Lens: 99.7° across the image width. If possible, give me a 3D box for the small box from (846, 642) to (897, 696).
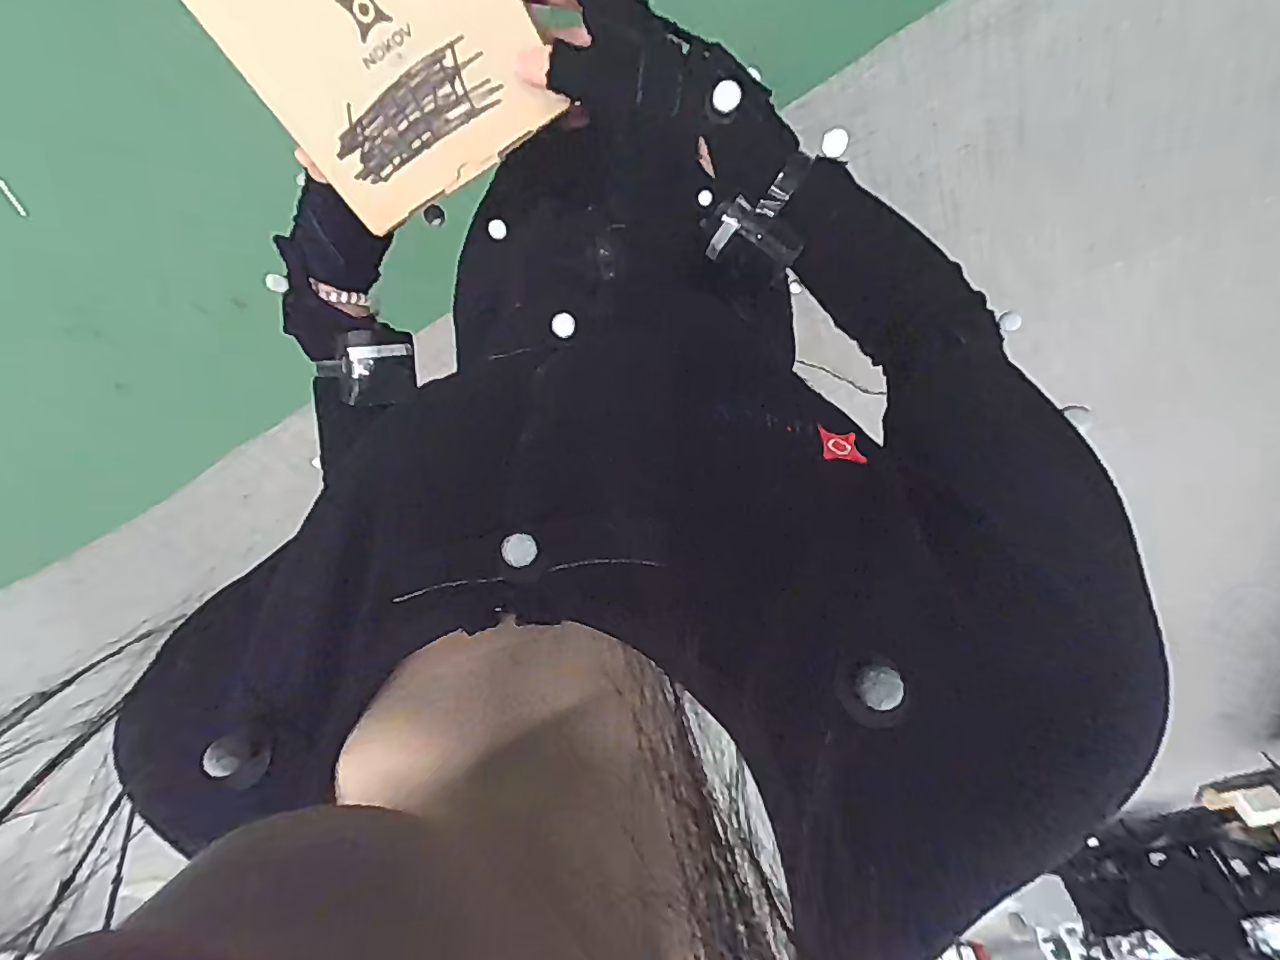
[{"bbox_3d":[1.132,0.929,2.660,0.179,0.176,0.168,-26,128,18],"label":"small box"}]
